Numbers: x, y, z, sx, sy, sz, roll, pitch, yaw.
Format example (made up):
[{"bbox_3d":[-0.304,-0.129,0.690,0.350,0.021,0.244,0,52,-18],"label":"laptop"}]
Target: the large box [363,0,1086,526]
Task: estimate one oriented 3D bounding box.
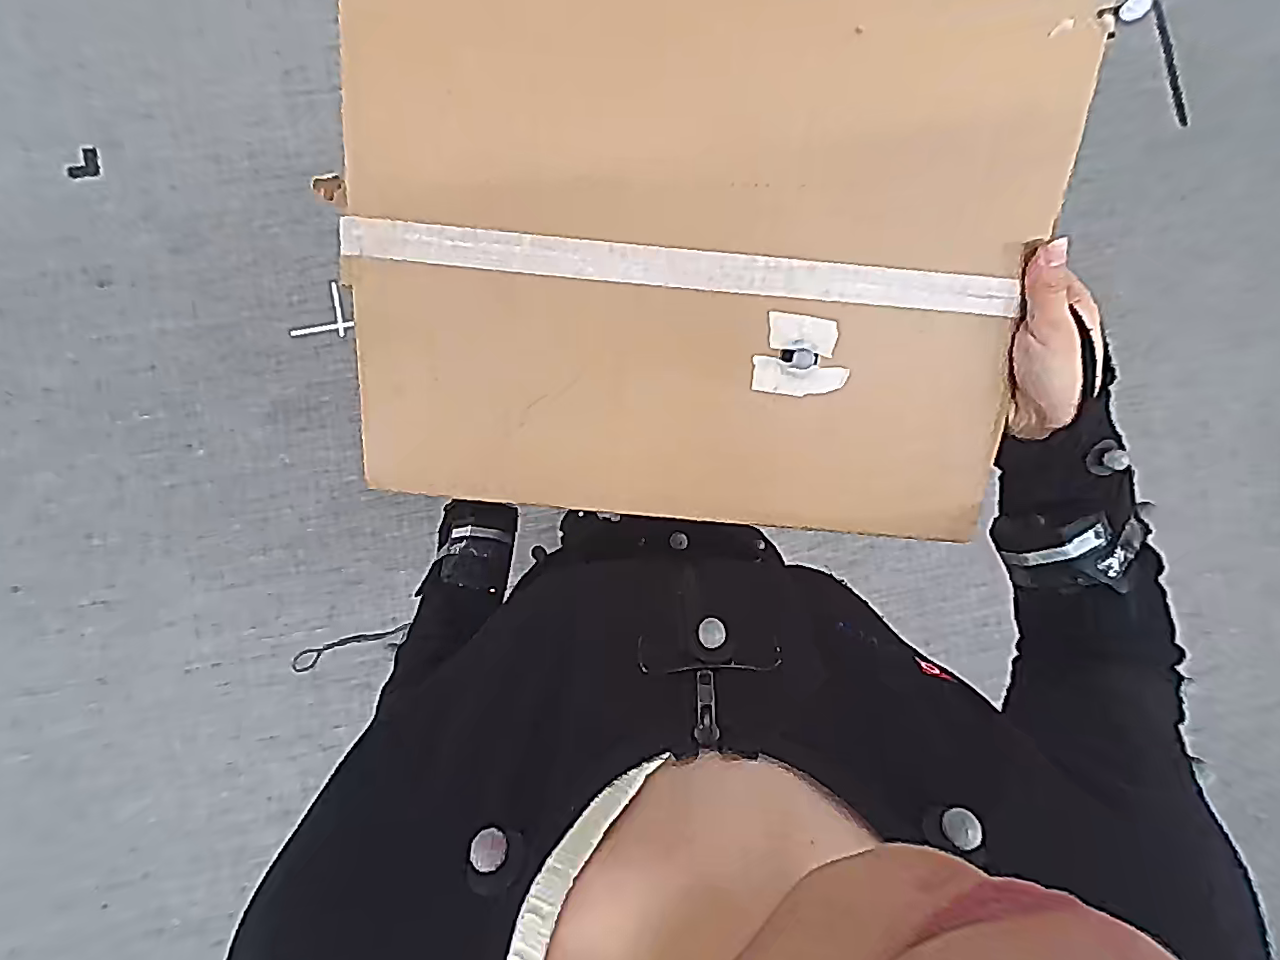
[{"bbox_3d":[0.035,-0.164,0.473,0.408,0.320,0.320,4,106,-2],"label":"large box"}]
